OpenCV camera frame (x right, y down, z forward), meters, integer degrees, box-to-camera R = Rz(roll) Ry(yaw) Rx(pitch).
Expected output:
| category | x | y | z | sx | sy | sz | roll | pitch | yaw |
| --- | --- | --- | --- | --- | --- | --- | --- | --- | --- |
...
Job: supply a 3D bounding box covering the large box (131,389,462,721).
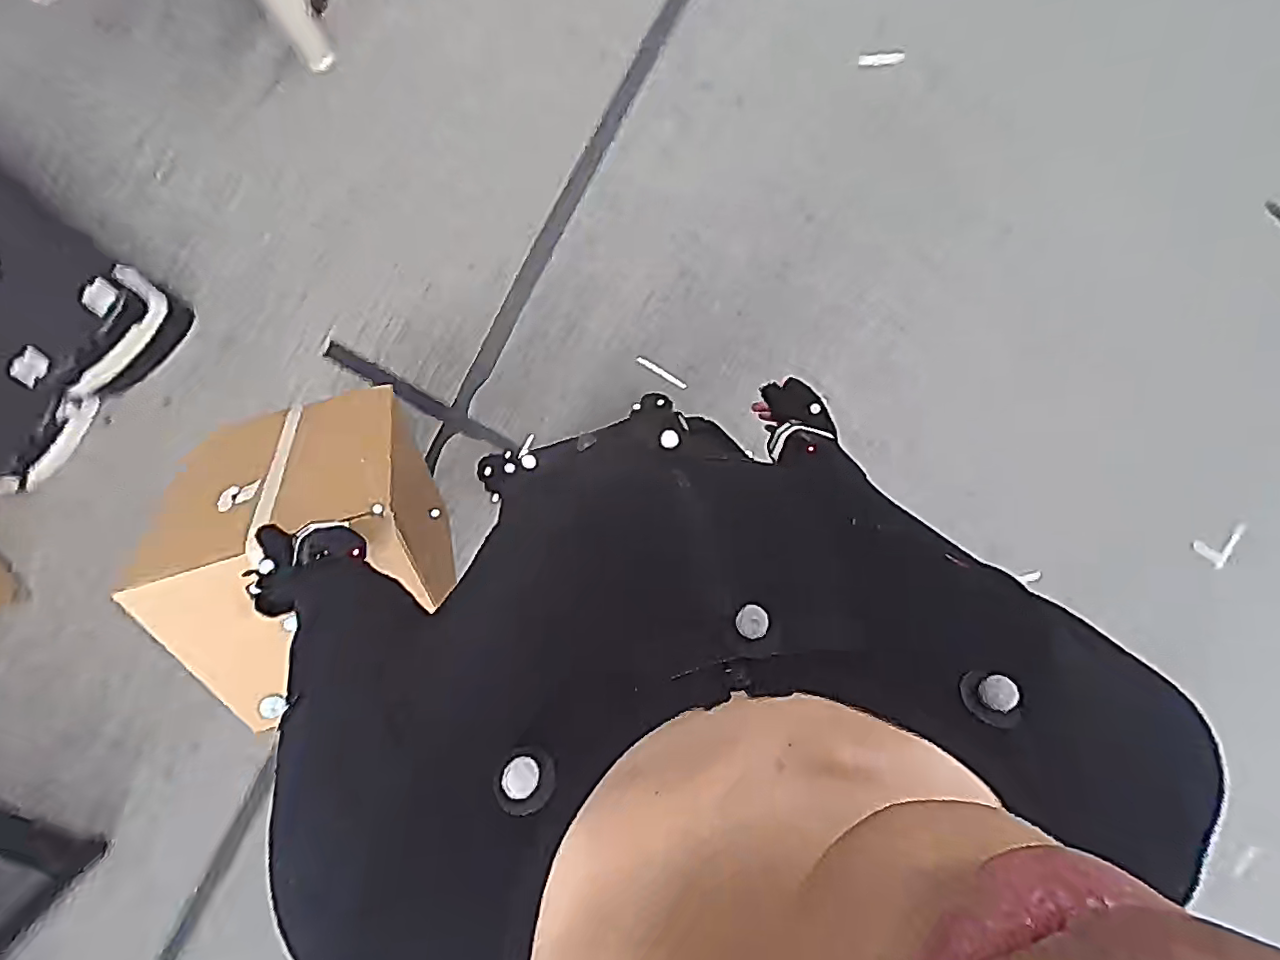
| category | x | y | z | sx | sy | sz | roll | pitch | yaw |
| --- | --- | --- | --- | --- | --- | --- | --- | --- | --- |
| large box | -0.512 | 0.098 | 0.901 | 0.320 | 0.408 | 0.320 | -18 | 129 | -13 |
